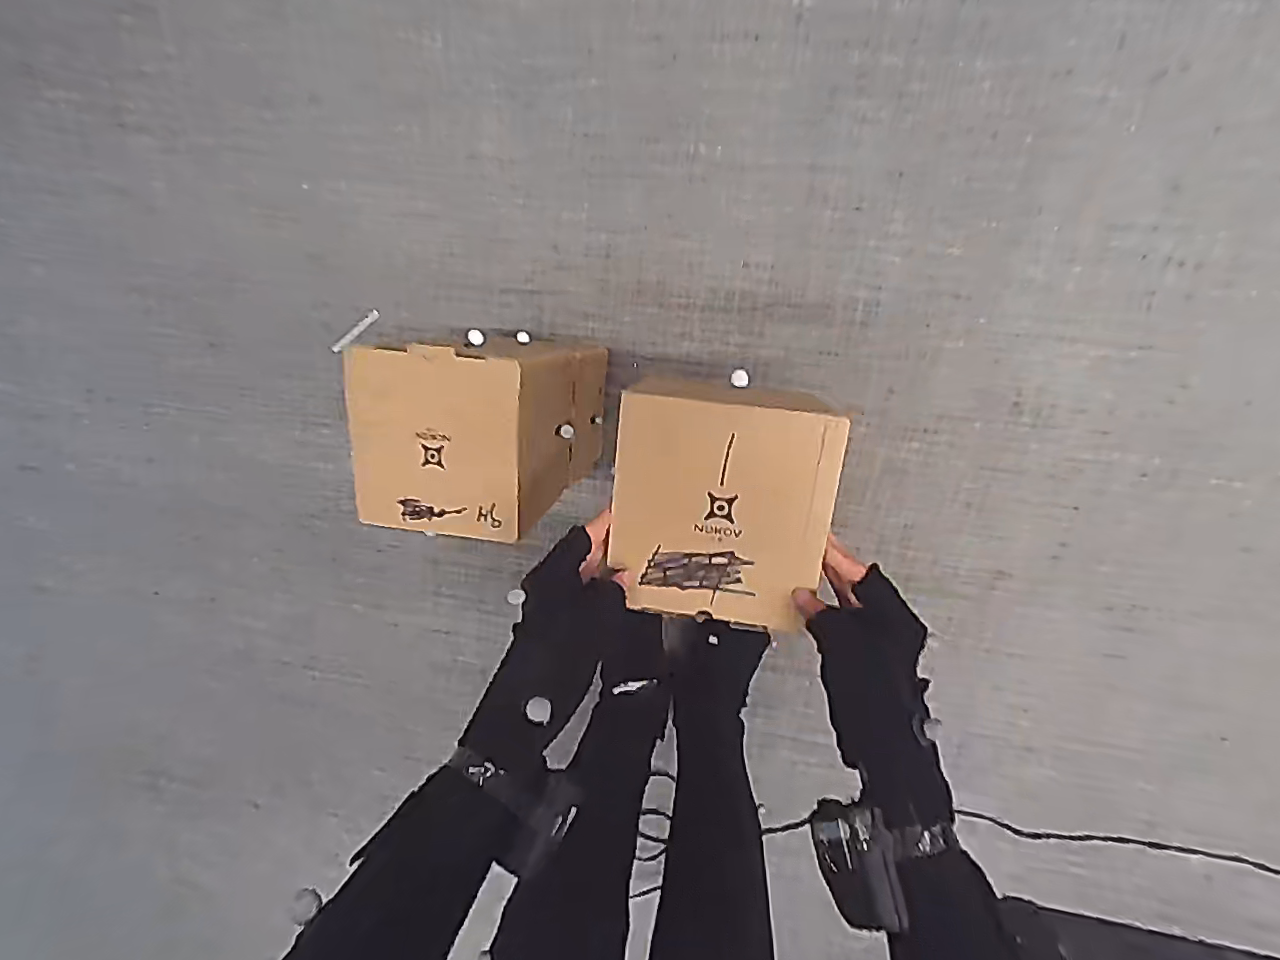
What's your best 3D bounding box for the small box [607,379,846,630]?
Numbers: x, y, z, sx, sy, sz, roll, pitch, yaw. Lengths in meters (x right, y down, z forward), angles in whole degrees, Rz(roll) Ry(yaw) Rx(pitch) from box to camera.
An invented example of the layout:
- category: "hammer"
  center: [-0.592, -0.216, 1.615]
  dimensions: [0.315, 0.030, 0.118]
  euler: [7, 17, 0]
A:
- category: "small box"
  center: [0.073, 0.007, 0.497]
  dimensions: [0.168, 0.176, 0.179]
  euler: [8, 105, 6]
